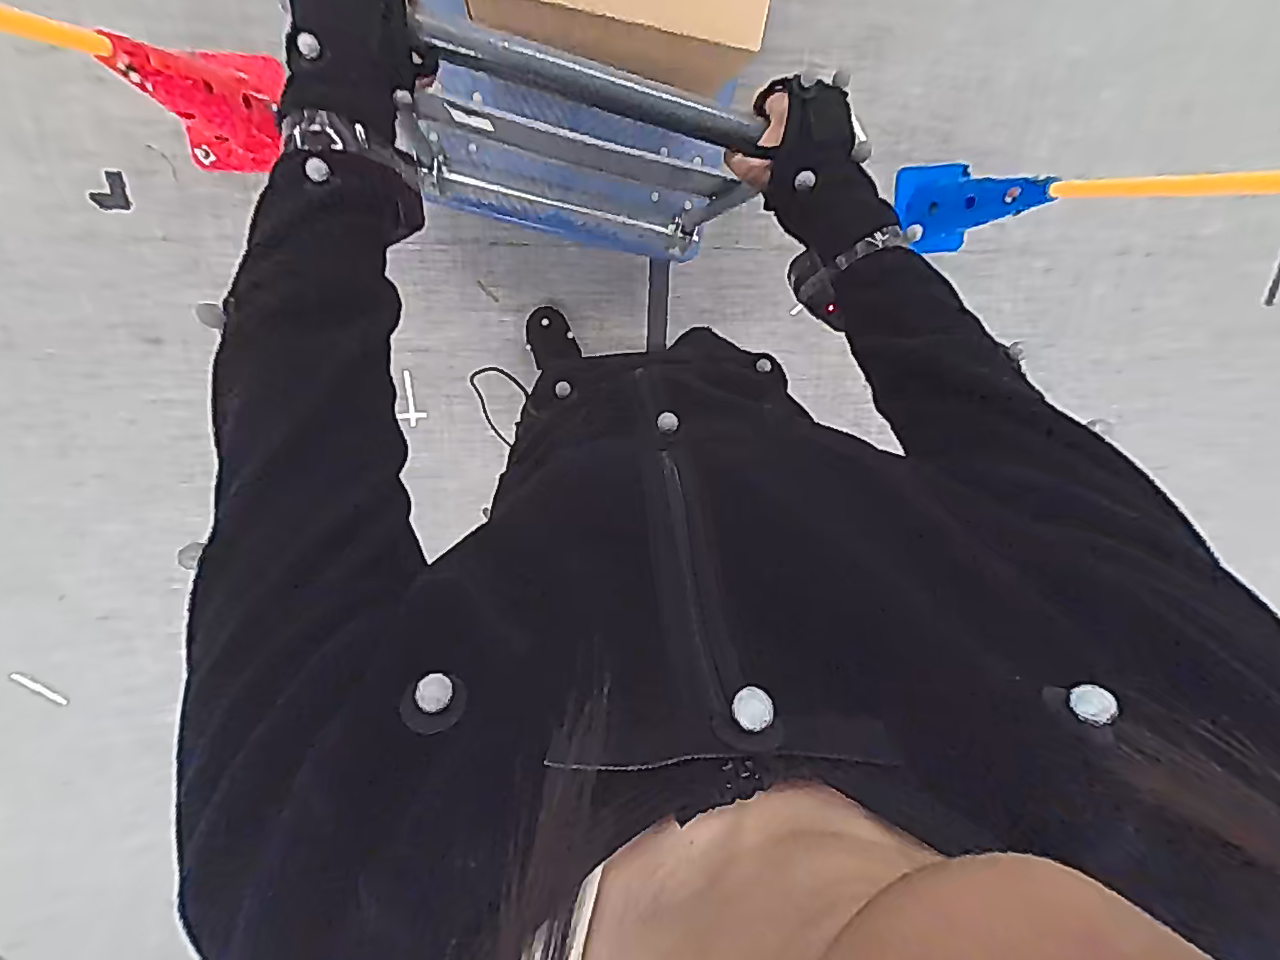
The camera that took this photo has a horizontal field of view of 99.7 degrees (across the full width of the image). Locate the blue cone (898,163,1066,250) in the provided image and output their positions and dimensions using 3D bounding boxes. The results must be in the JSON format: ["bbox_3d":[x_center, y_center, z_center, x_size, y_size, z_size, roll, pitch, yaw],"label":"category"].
[{"bbox_3d":[0.758,-0.623,1.192,0.193,0.380,0.192,-6,110,-8],"label":"blue cone"}]
